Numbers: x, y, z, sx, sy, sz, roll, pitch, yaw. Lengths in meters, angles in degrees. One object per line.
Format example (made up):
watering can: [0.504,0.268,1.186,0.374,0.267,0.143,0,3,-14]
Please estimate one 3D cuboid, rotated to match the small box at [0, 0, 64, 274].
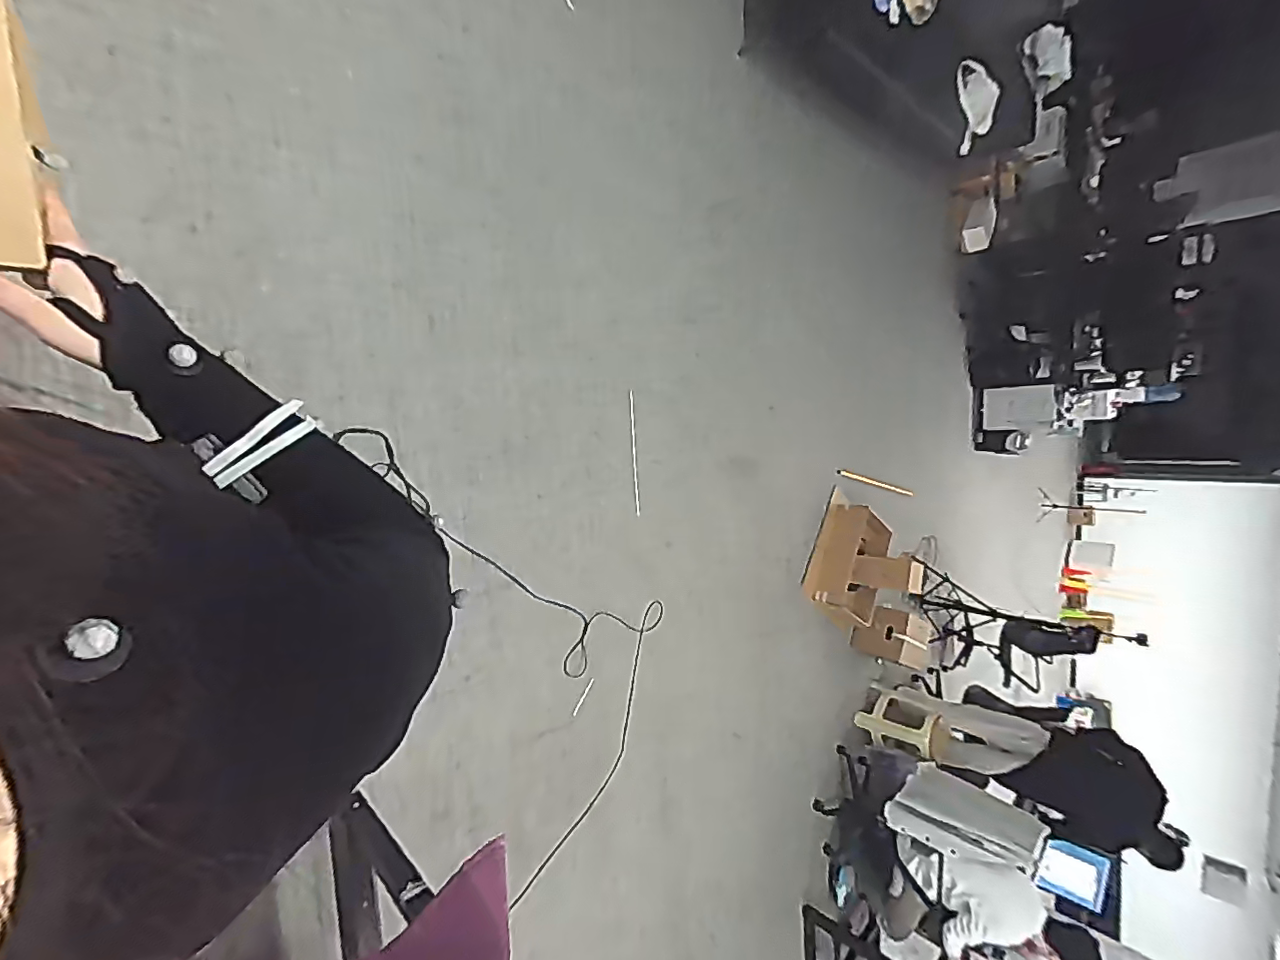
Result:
small box: [-0.513,-0.238,0.353,0.168,0.176,0.179,-8,109,-42]
